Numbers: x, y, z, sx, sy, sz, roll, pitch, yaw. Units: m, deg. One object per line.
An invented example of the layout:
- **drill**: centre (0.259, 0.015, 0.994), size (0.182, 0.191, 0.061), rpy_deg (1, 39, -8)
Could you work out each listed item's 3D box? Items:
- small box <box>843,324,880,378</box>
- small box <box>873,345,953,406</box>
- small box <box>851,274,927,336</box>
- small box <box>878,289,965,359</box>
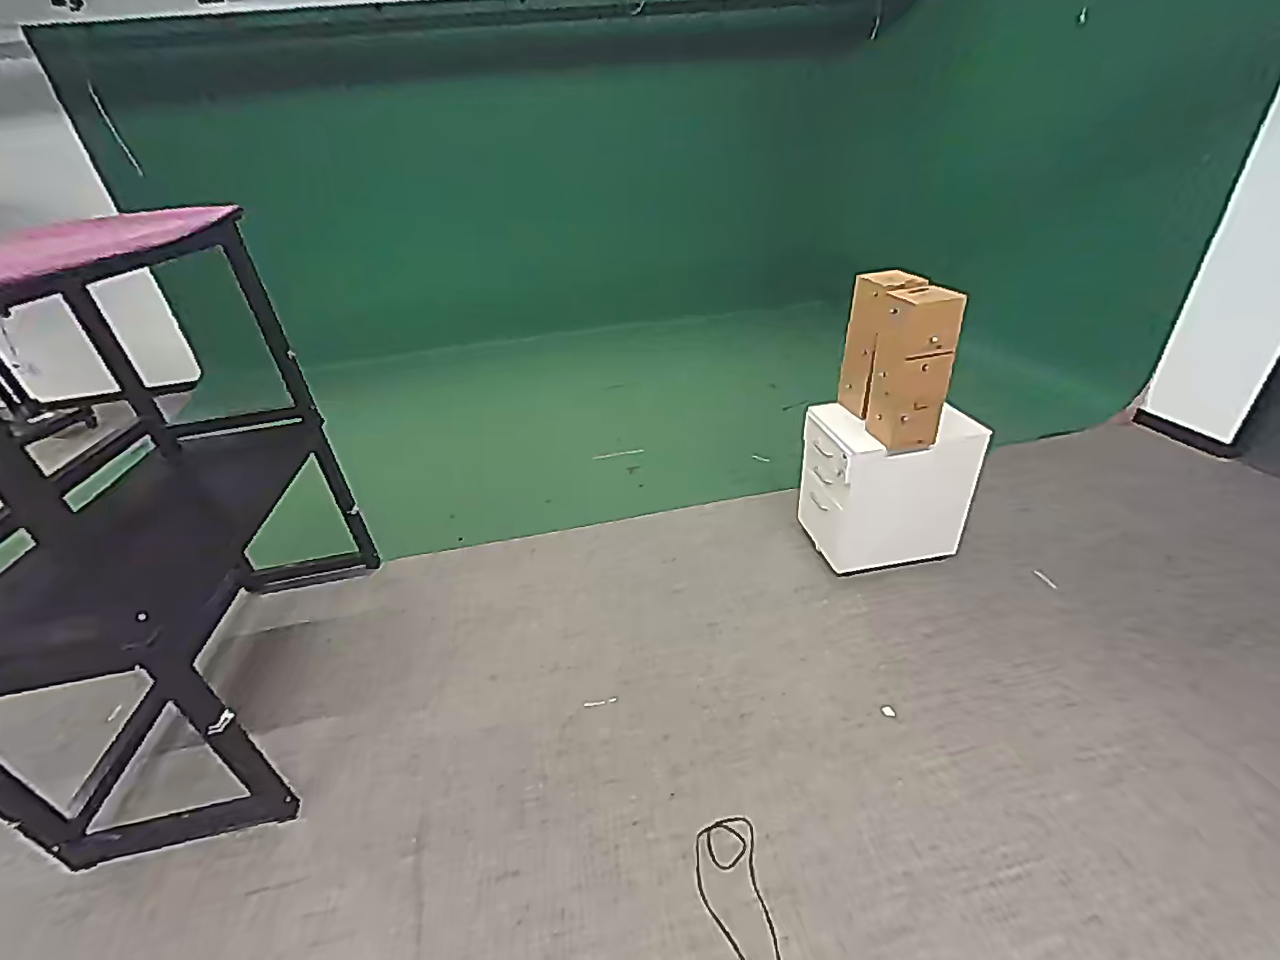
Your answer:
- **small box**: centre (0.881, -0.483, 2.005), size (0.168, 0.176, 0.179), rpy_deg (-11, 33, -11)
- **small box**: centre (0.893, -0.354, 1.791), size (0.179, 0.176, 0.168), rpy_deg (-9, 31, -6)
- **small box**: centre (0.874, -0.621, 1.918), size (0.168, 0.176, 0.179), rpy_deg (-11, 34, -10)
- **small box**: centre (0.877, -0.491, 1.701), size (0.168, 0.176, 0.179), rpy_deg (-9, 31, -6)
